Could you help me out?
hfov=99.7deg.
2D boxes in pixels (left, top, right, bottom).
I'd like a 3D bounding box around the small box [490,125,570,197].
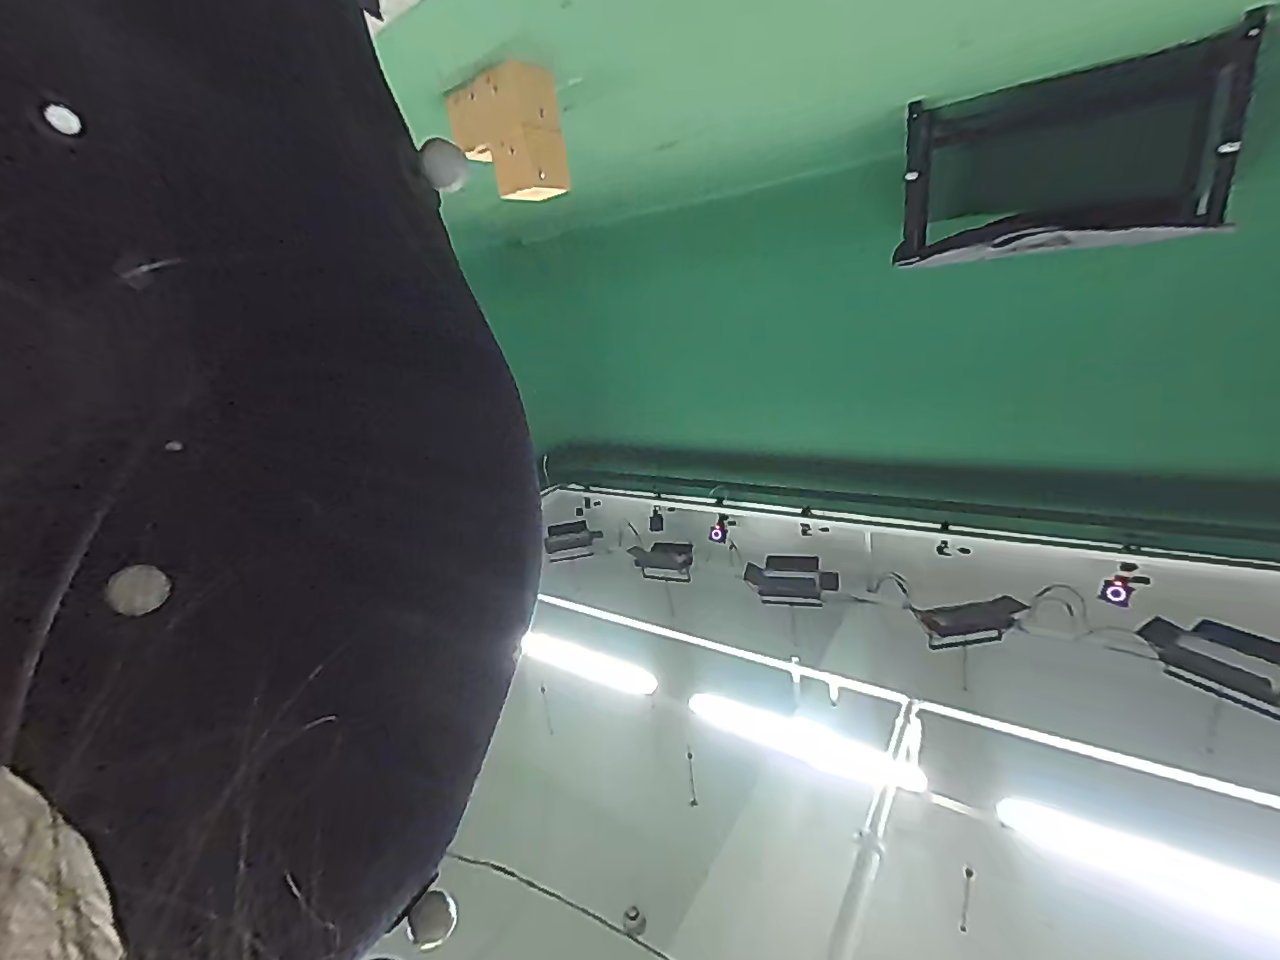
[{"bbox_3d":[-0.356,-1.032,1.755,0.168,0.176,0.179,7,-156,38],"label":"small box"}]
